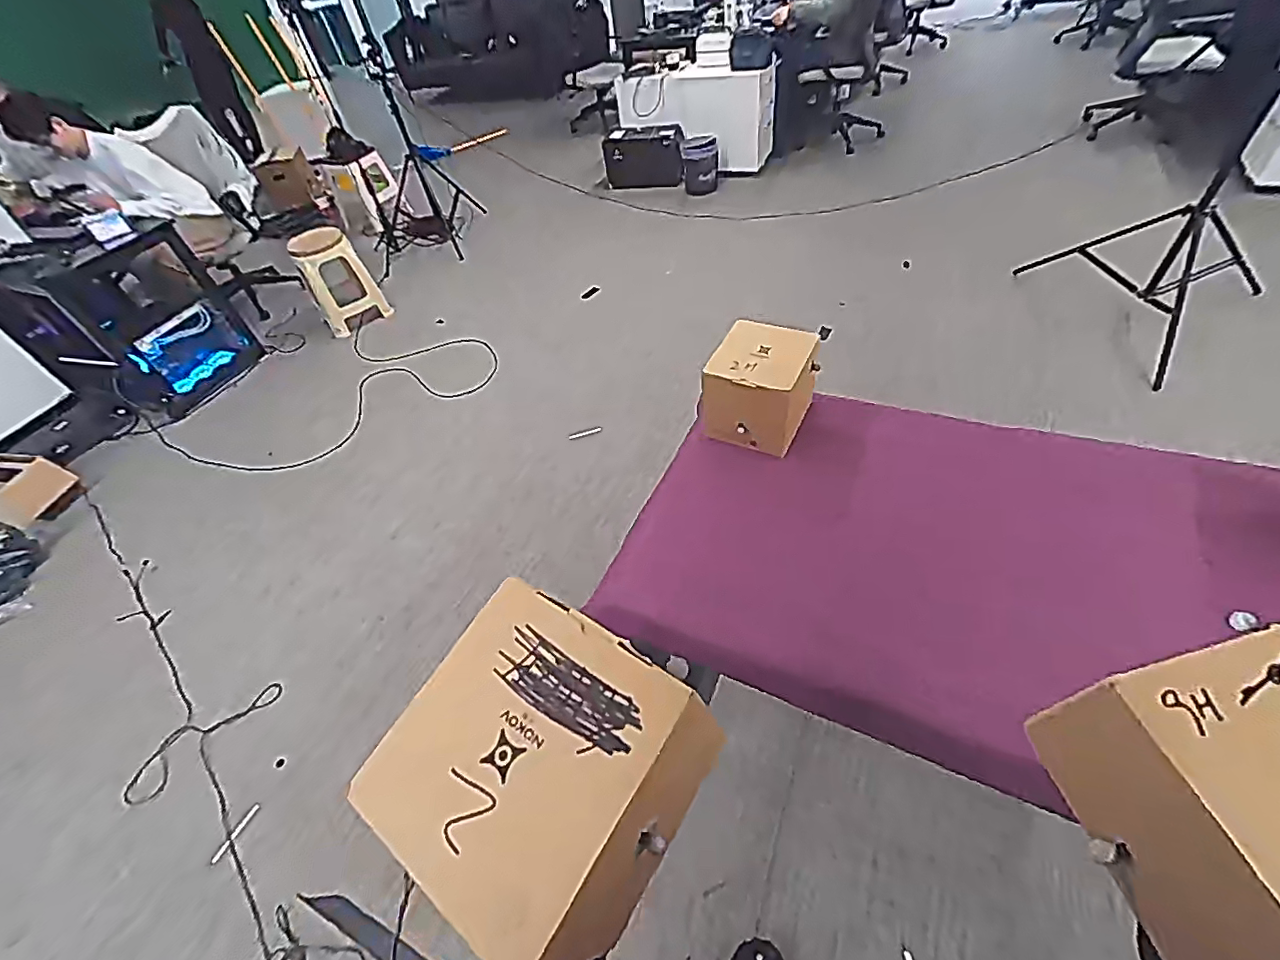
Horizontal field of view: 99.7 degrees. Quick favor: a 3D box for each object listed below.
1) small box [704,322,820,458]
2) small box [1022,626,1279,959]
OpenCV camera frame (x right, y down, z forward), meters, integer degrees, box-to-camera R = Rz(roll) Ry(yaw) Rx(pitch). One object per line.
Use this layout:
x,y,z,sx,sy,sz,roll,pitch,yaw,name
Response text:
0.234,-0.175,1.051,0.168,0.176,0.179,19,56,24,small box
0.389,0.202,0.334,0.168,0.176,0.179,-19,55,4,small box
